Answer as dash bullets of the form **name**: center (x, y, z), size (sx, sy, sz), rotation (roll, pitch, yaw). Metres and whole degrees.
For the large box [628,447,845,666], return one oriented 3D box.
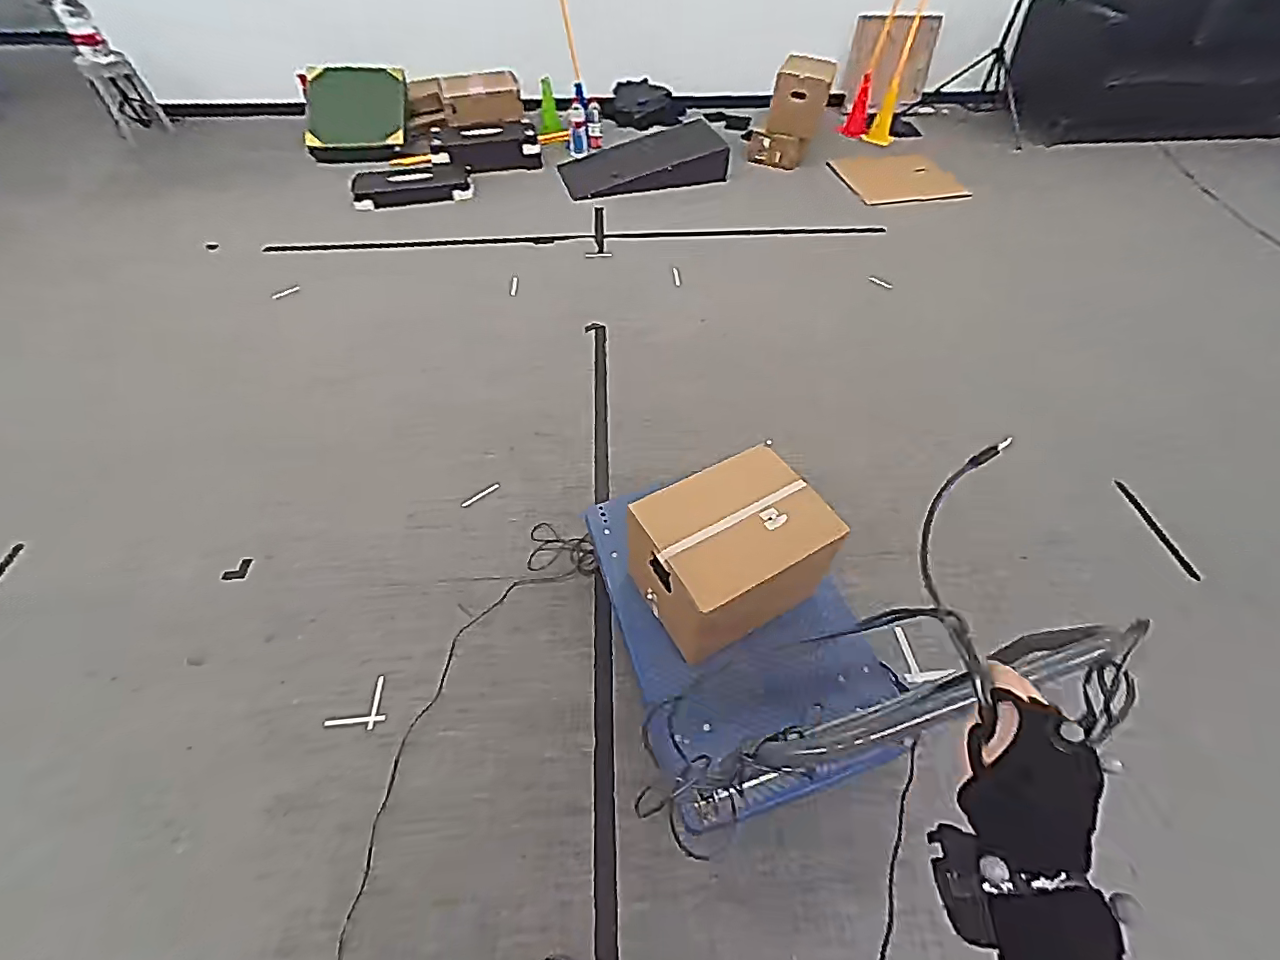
- **large box**: center (0.215, 0.188, 1.342), size (0.408, 0.320, 0.320), rotation (-23, 56, -19)
